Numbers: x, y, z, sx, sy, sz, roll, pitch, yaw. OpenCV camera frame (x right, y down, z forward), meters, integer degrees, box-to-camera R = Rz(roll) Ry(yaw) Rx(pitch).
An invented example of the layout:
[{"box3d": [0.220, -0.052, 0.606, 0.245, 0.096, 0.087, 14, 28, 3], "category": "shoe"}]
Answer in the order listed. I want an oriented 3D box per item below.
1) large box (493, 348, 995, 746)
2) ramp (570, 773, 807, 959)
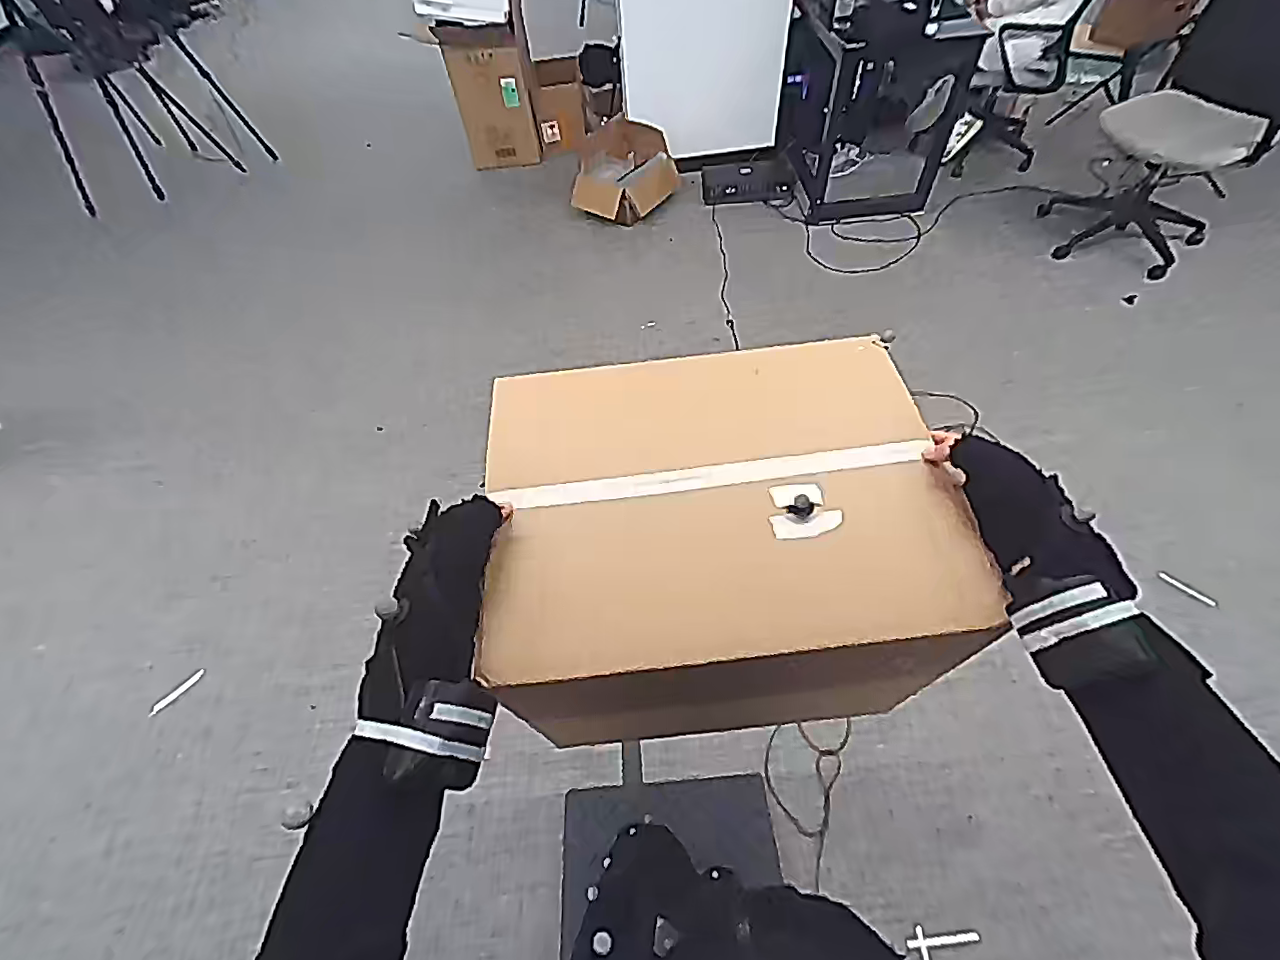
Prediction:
[{"box3d": [0.073, 0.090, 0.621, 0.408, 0.320, 0.320, -7, 56, 0], "category": "large box"}, {"box3d": [0.105, 1.107, 0.998, 0.509, 0.206, 0.991, -8, 54, 1], "category": "ramp"}]
